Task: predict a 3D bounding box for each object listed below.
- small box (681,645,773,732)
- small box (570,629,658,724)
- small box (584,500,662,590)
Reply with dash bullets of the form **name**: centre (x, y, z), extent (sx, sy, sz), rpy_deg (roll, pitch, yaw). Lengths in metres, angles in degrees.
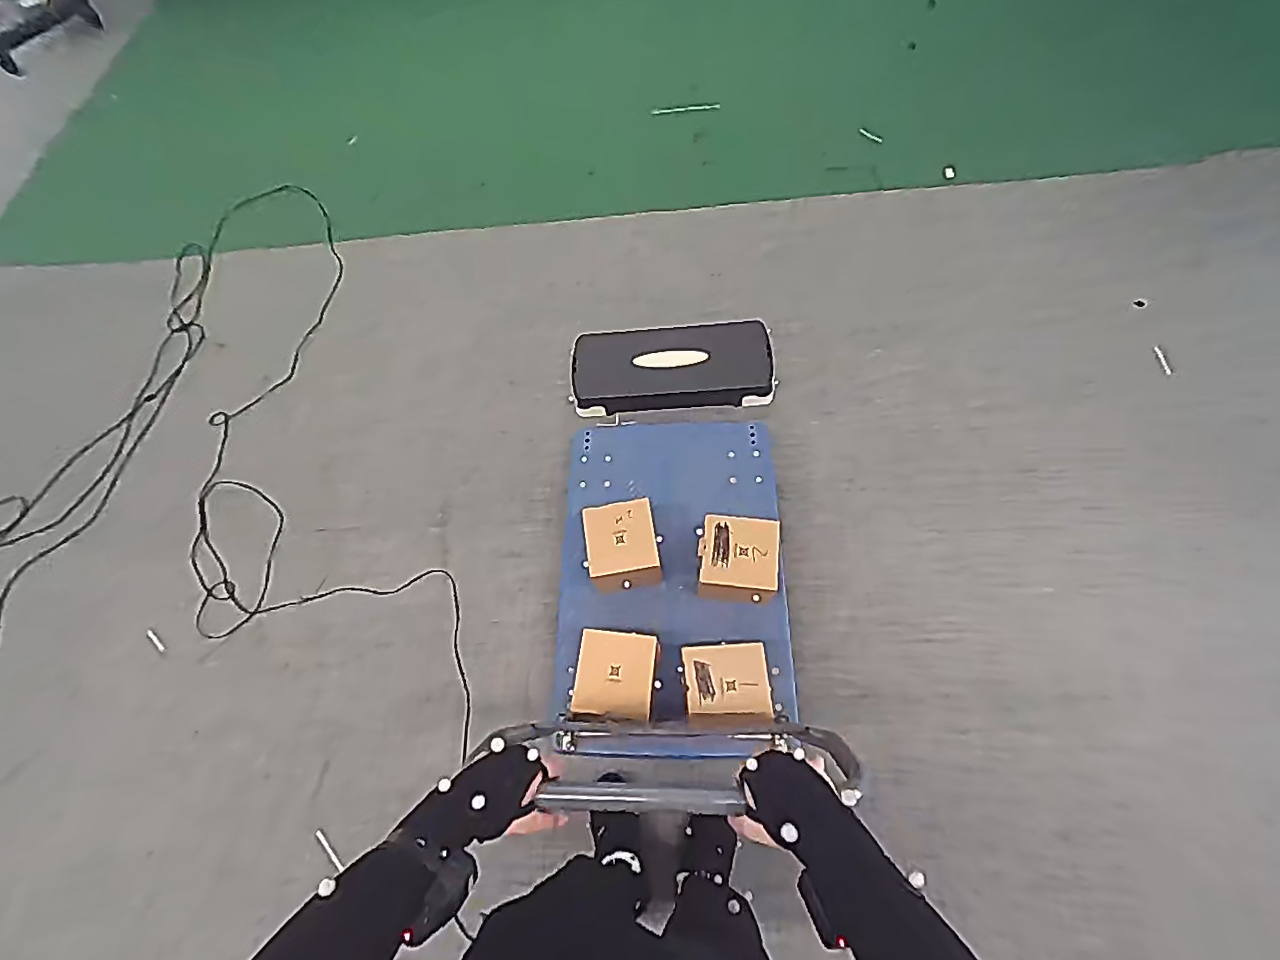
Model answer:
- **small box**: centre (0.185, 0.462, 1.190), extent (0.179, 0.176, 0.168), rpy_deg (-4, 65, 3)
- **small box**: centre (-0.050, 0.446, 1.221), extent (0.168, 0.176, 0.179), rpy_deg (5, 67, 7)
- **small box**: centre (-0.040, 0.169, 1.347), extent (0.168, 0.176, 0.179), rpy_deg (-9, 65, 0)
